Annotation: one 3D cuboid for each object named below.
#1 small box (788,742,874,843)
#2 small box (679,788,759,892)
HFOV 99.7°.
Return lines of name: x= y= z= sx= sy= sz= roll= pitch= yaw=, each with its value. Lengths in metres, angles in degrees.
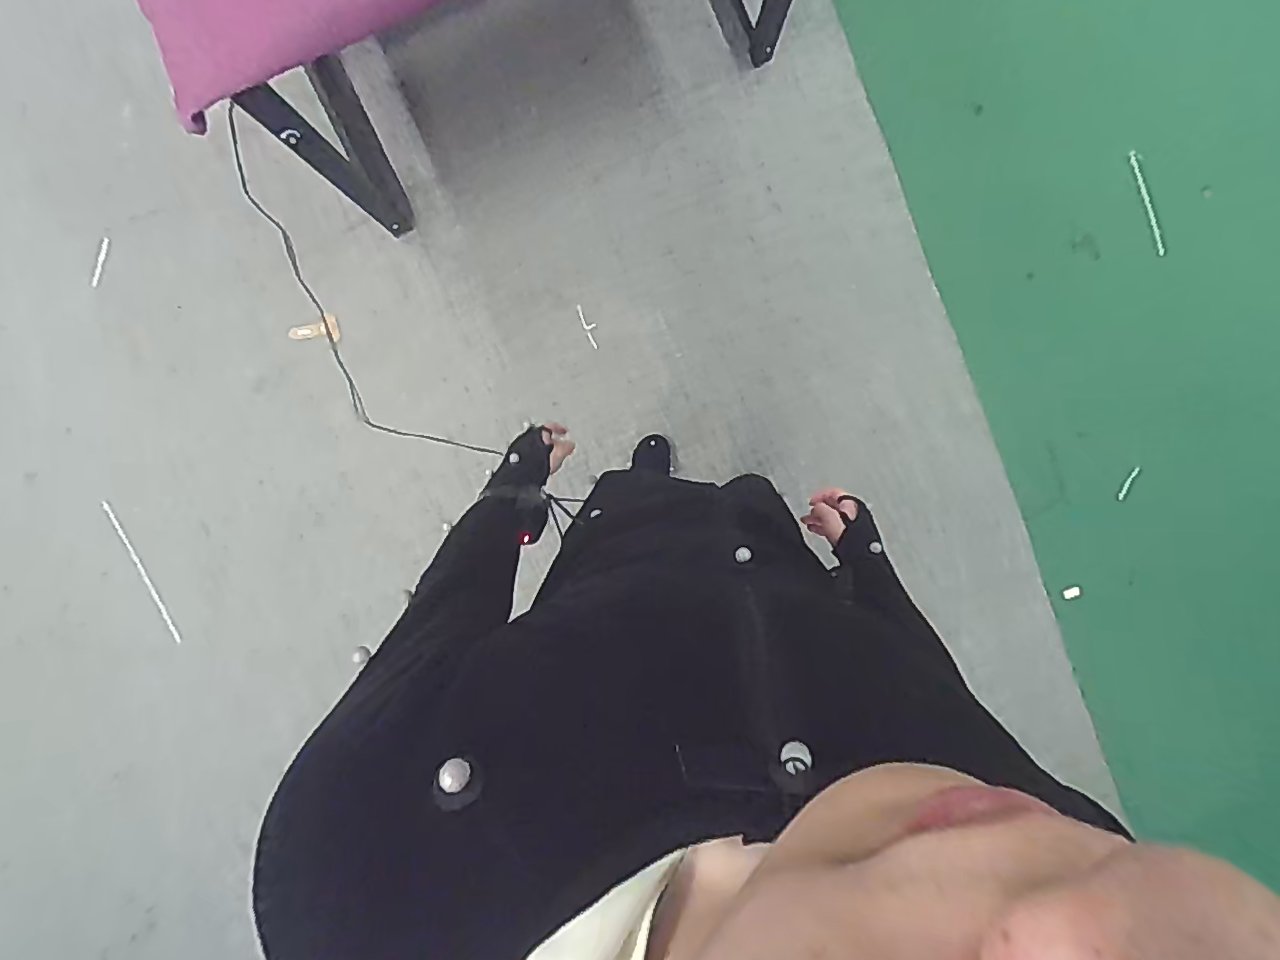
small box: x=0.558 y=0.926 z=1.616 sx=0.179 sy=0.176 sz=0.168 roll=-23 pitch=96 yaw=1
small box: x=0.230 y=1.070 z=1.621 sx=0.179 sy=0.176 sz=0.168 roll=-23 pitch=94 yaw=1
